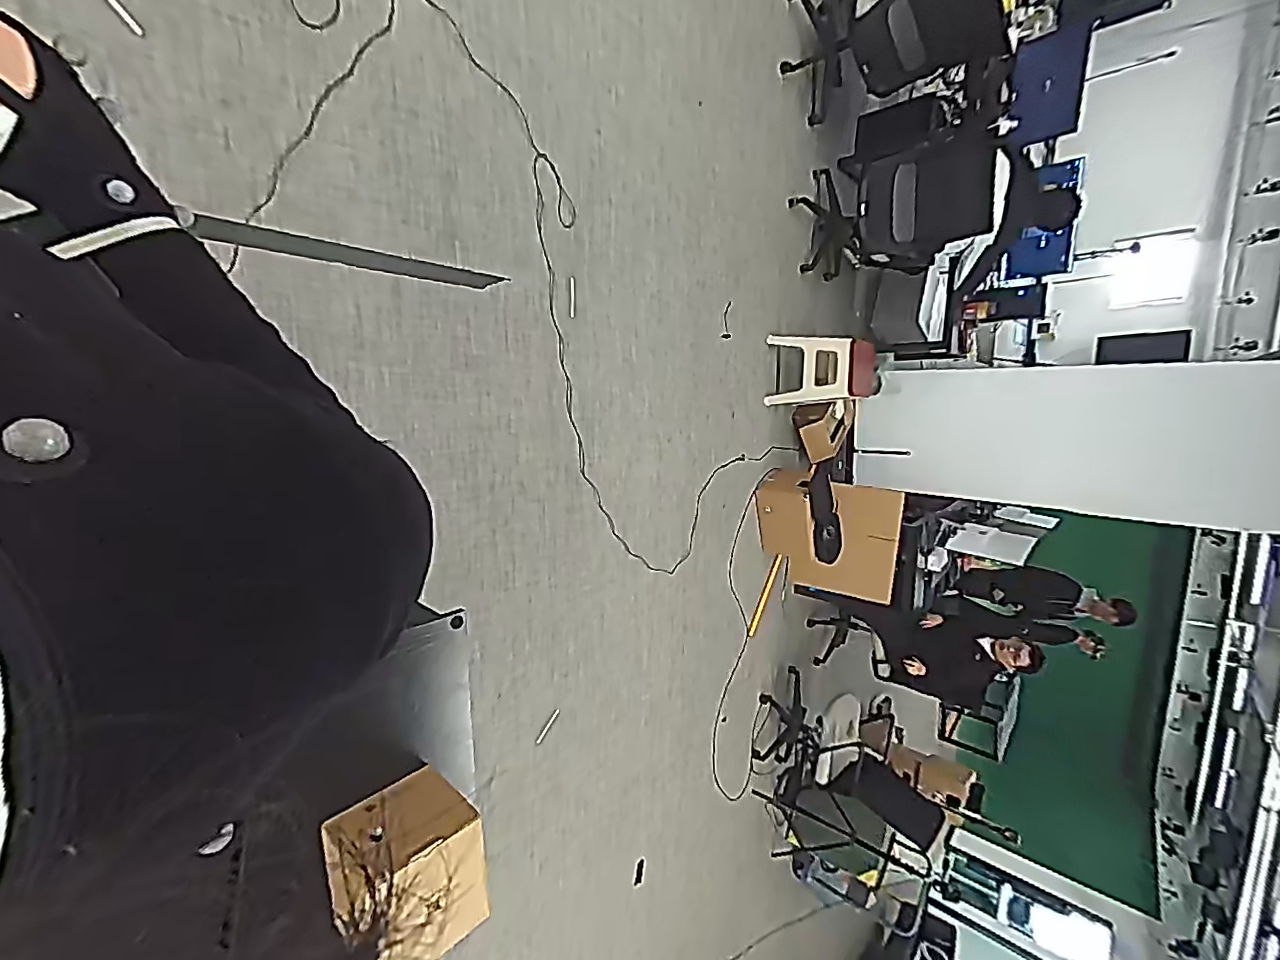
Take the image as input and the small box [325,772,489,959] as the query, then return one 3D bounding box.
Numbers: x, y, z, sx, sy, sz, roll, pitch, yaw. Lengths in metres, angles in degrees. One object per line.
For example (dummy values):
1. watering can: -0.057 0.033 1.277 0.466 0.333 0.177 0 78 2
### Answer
1. small box: -0.347 0.571 0.804 0.168 0.176 0.179 -13 106 -45
